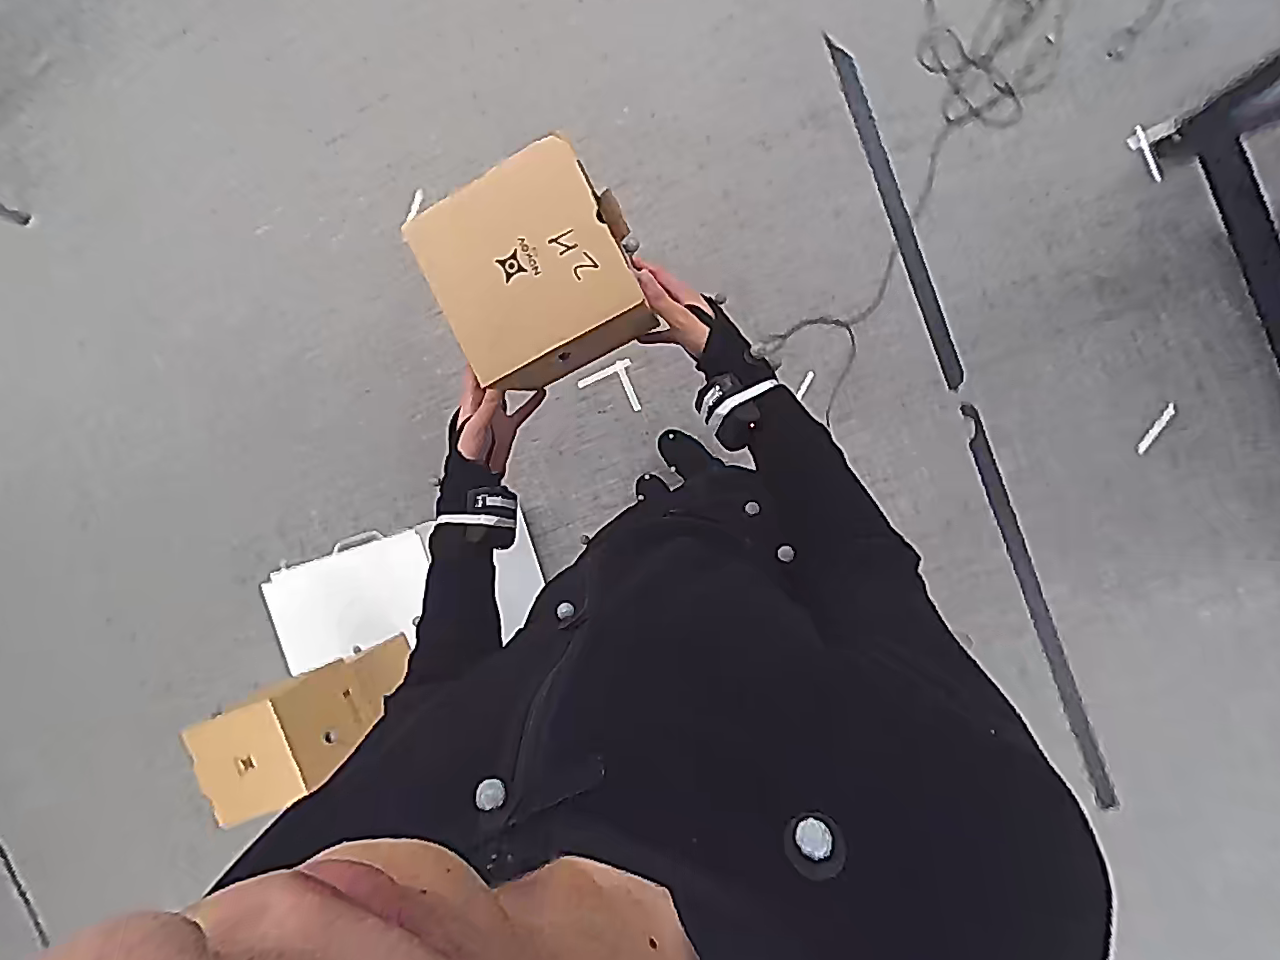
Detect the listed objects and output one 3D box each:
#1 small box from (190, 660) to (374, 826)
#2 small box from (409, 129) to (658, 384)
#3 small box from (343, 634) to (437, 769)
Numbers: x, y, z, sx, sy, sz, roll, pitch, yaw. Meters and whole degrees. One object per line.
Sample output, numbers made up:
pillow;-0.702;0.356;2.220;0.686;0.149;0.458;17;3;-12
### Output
small box;-0.582;0.428;0.907;0.179;0.176;0.168;-23;90;10
small box;-0.094;-0.209;0.568;0.179;0.176;0.168;-26;95;9
small box;-0.535;0.433;1.065;0.168;0.176;0.179;-26;89;9
